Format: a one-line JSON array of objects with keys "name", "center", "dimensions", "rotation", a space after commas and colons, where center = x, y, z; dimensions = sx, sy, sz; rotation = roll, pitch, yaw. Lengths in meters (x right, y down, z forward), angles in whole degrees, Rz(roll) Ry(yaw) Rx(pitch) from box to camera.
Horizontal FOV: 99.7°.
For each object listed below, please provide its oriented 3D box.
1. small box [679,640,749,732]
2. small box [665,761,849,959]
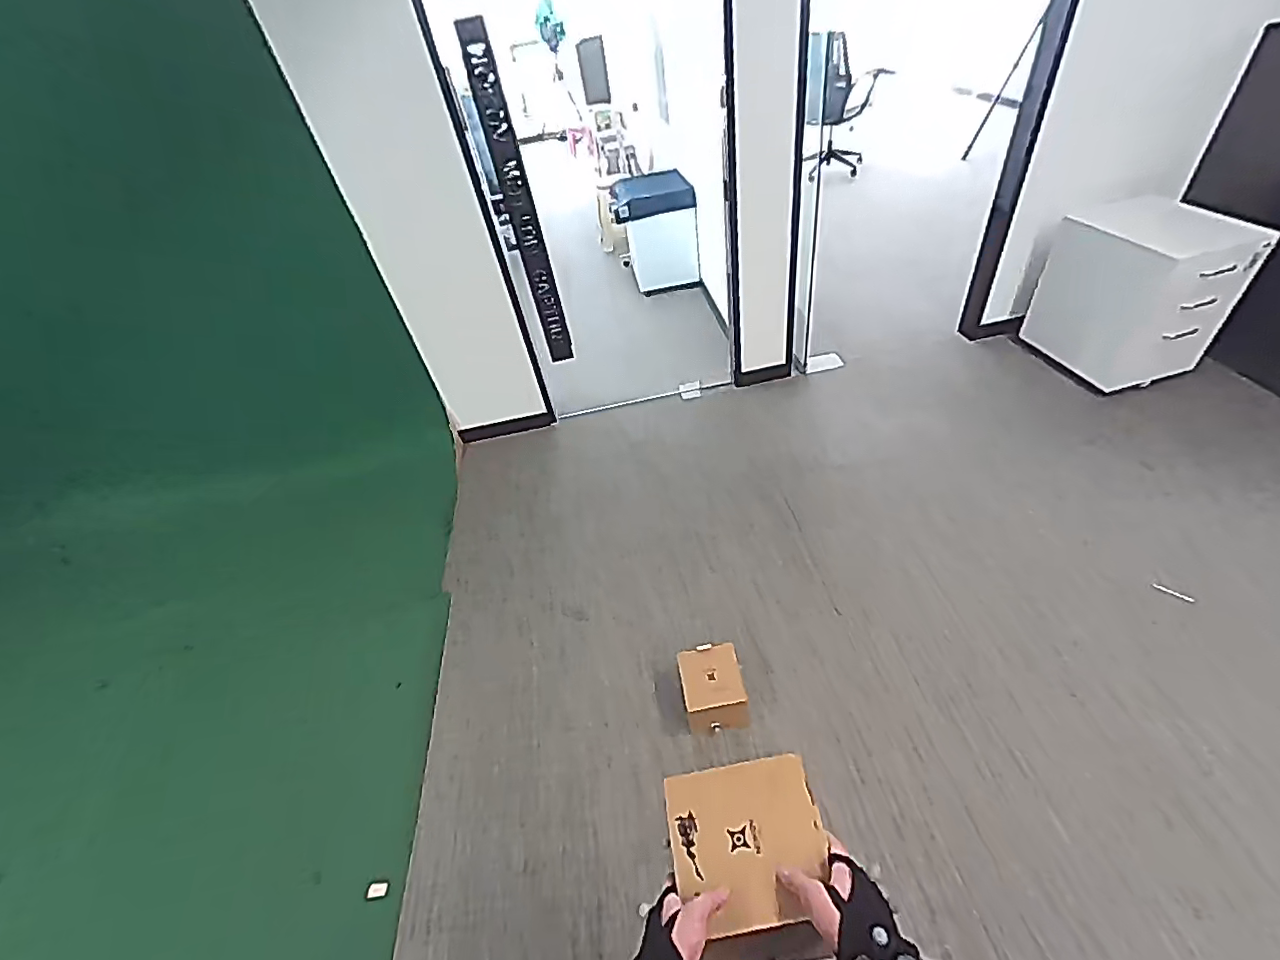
[{"name": "small box", "center": [0.209, 0.584, 1.532], "dimensions": [0.168, 0.176, 0.179], "rotation": [-11, 43, 4]}, {"name": "small box", "center": [0.132, 0.476, 0.664], "dimensions": [0.179, 0.176, 0.168], "rotation": [-9, 37, 0]}]
